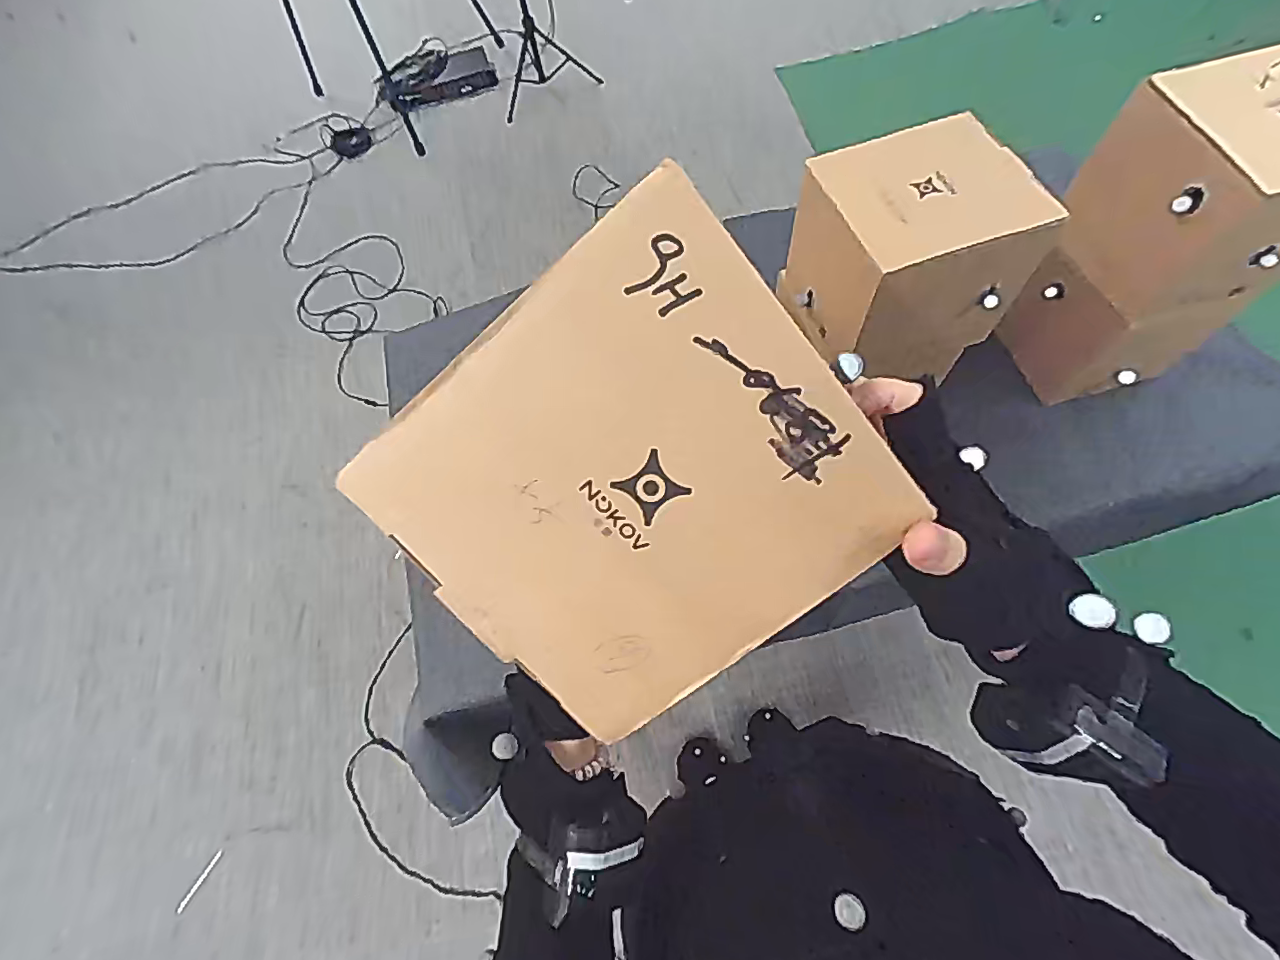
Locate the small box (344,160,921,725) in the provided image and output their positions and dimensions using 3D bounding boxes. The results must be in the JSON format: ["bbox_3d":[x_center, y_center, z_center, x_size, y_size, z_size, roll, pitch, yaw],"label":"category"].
[{"bbox_3d":[0.000,-0.020,0.291,0.179,0.176,0.168,-38,102,12],"label":"small box"}]

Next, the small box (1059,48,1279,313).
[{"bbox_3d":[0.593,-0.297,0.563,0.168,0.176,0.179,-13,65,1],"label":"small box"}]

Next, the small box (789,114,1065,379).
[{"bbox_3d":[0.277,-0.236,0.575,0.179,0.176,0.168,-17,64,-1],"label":"small box"}]
